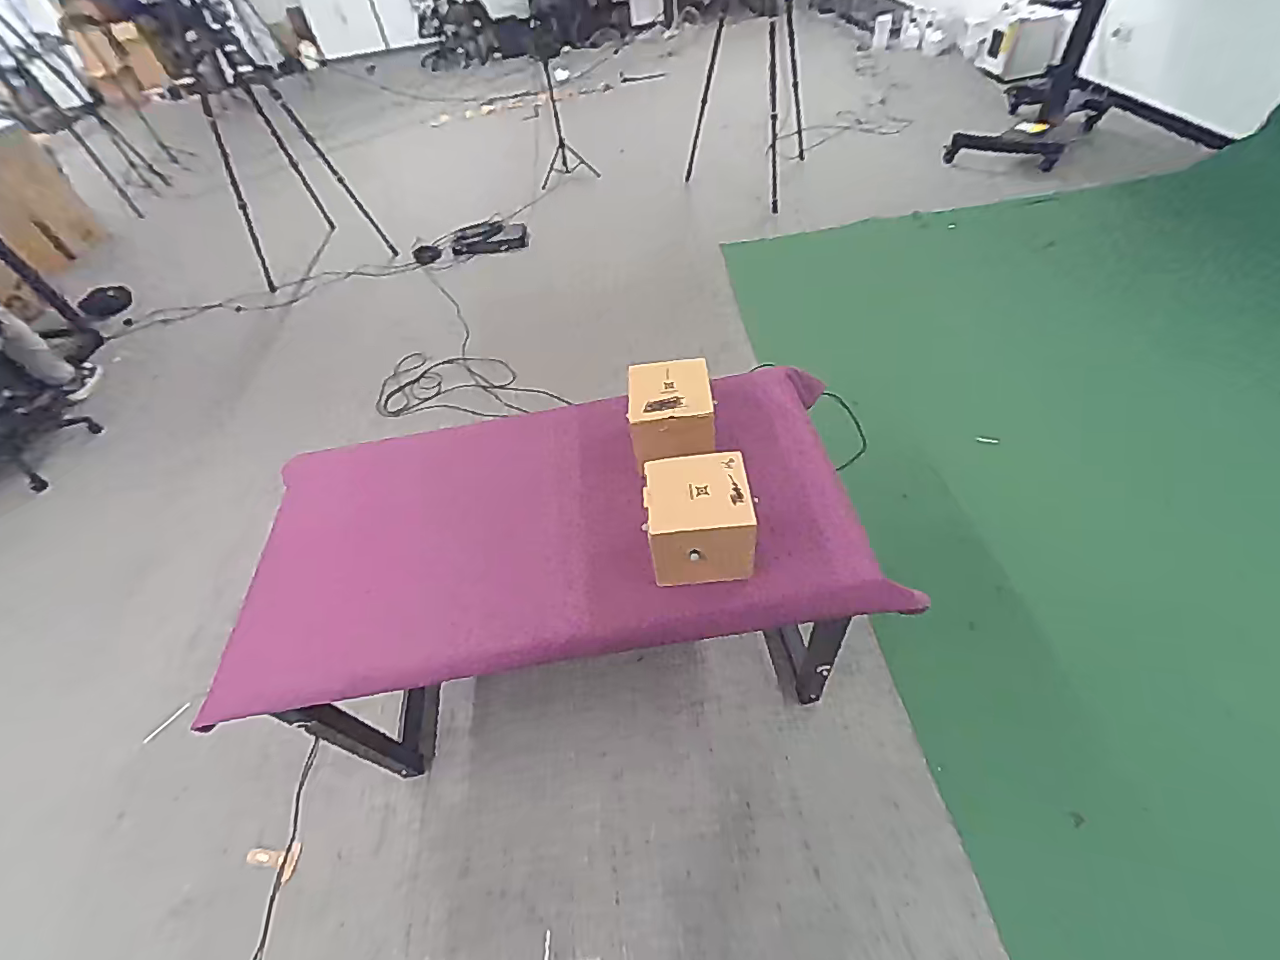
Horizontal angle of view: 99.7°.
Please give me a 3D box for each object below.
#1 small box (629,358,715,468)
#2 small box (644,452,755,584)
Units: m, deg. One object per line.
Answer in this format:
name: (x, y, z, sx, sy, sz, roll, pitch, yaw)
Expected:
small box: (0.070, -0.130, 1.144, 0.168, 0.176, 0.179, -5, 49, 5)
small box: (0.107, 0.073, 0.967, 0.179, 0.176, 0.168, -6, 49, 5)
